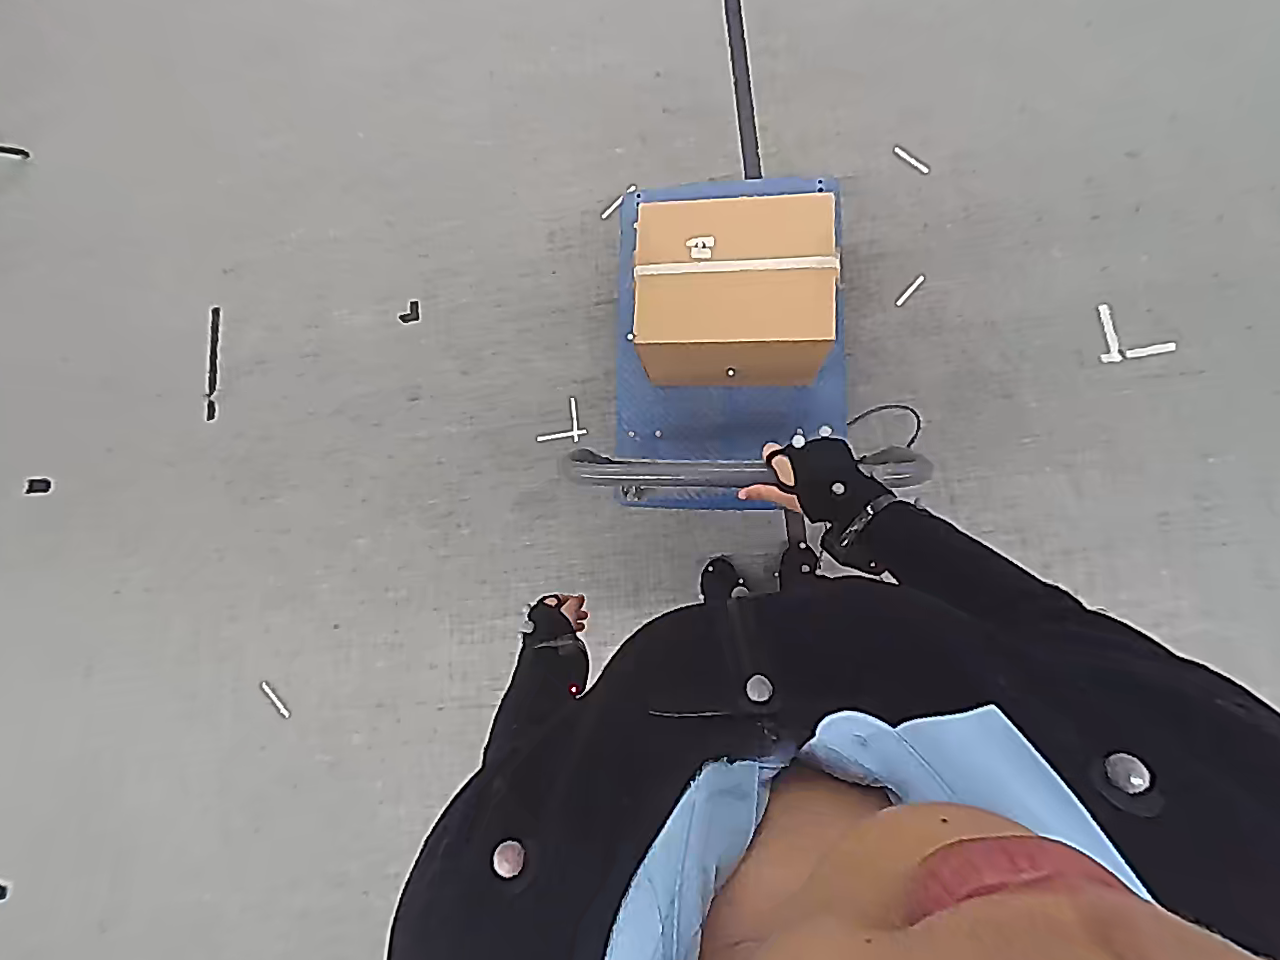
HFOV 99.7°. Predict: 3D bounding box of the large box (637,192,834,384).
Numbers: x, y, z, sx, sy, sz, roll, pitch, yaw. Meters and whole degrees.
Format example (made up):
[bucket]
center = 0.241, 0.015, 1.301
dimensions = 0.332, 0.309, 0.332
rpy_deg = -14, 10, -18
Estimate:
[large box]
center = 0.218, -0.419, 1.265
dimensions = 0.408, 0.320, 0.320
rpy_deg = 0, 82, 10
